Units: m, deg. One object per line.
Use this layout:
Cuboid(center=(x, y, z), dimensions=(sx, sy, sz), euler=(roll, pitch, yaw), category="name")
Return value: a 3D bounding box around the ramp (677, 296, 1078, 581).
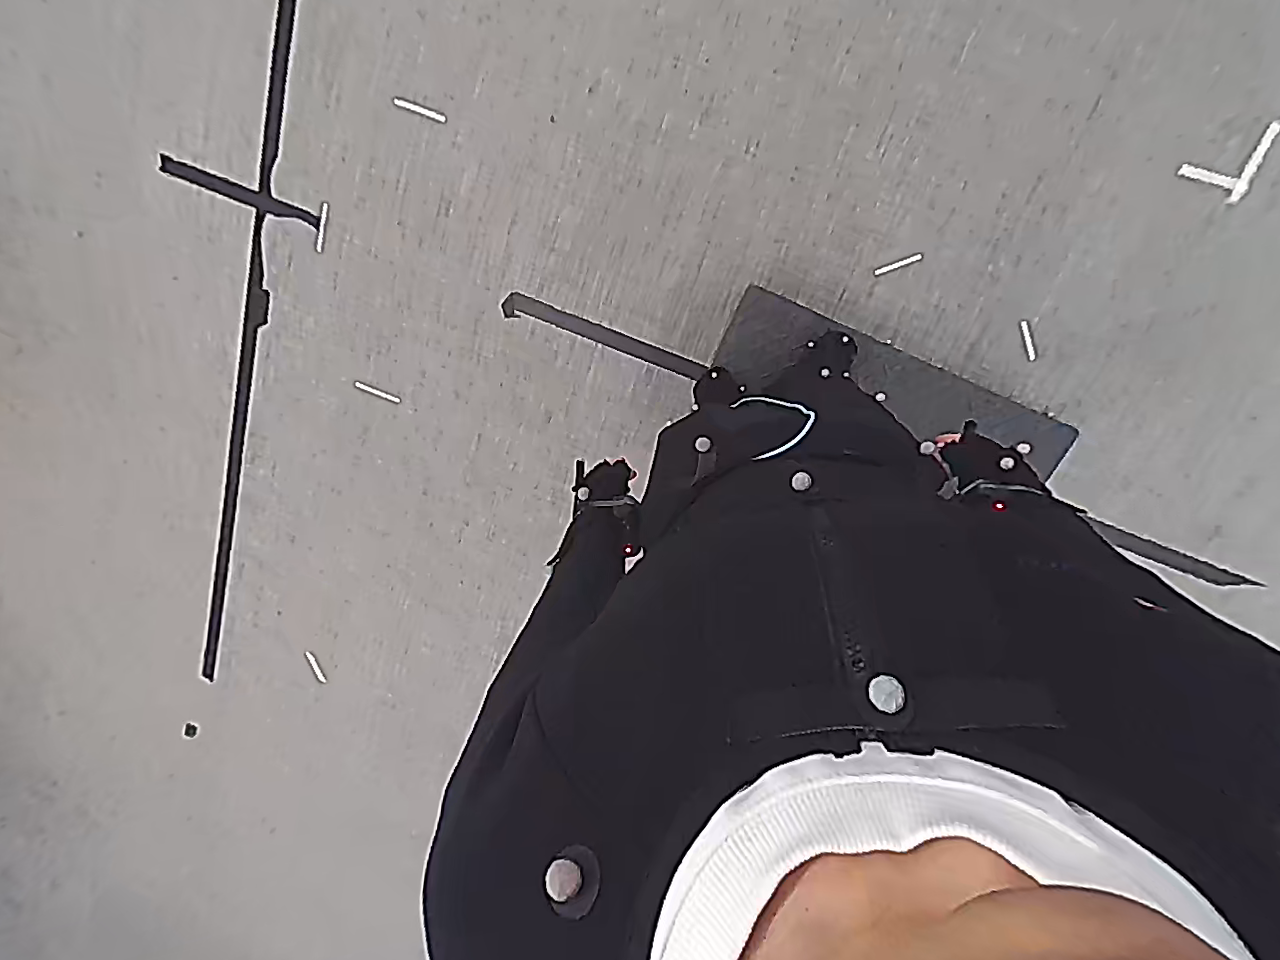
Cuboid(center=(0.644, -0.081, 1.458), dimensions=(0.991, 0.206, 0.509), euler=(20, 104, 2), category="ramp")
